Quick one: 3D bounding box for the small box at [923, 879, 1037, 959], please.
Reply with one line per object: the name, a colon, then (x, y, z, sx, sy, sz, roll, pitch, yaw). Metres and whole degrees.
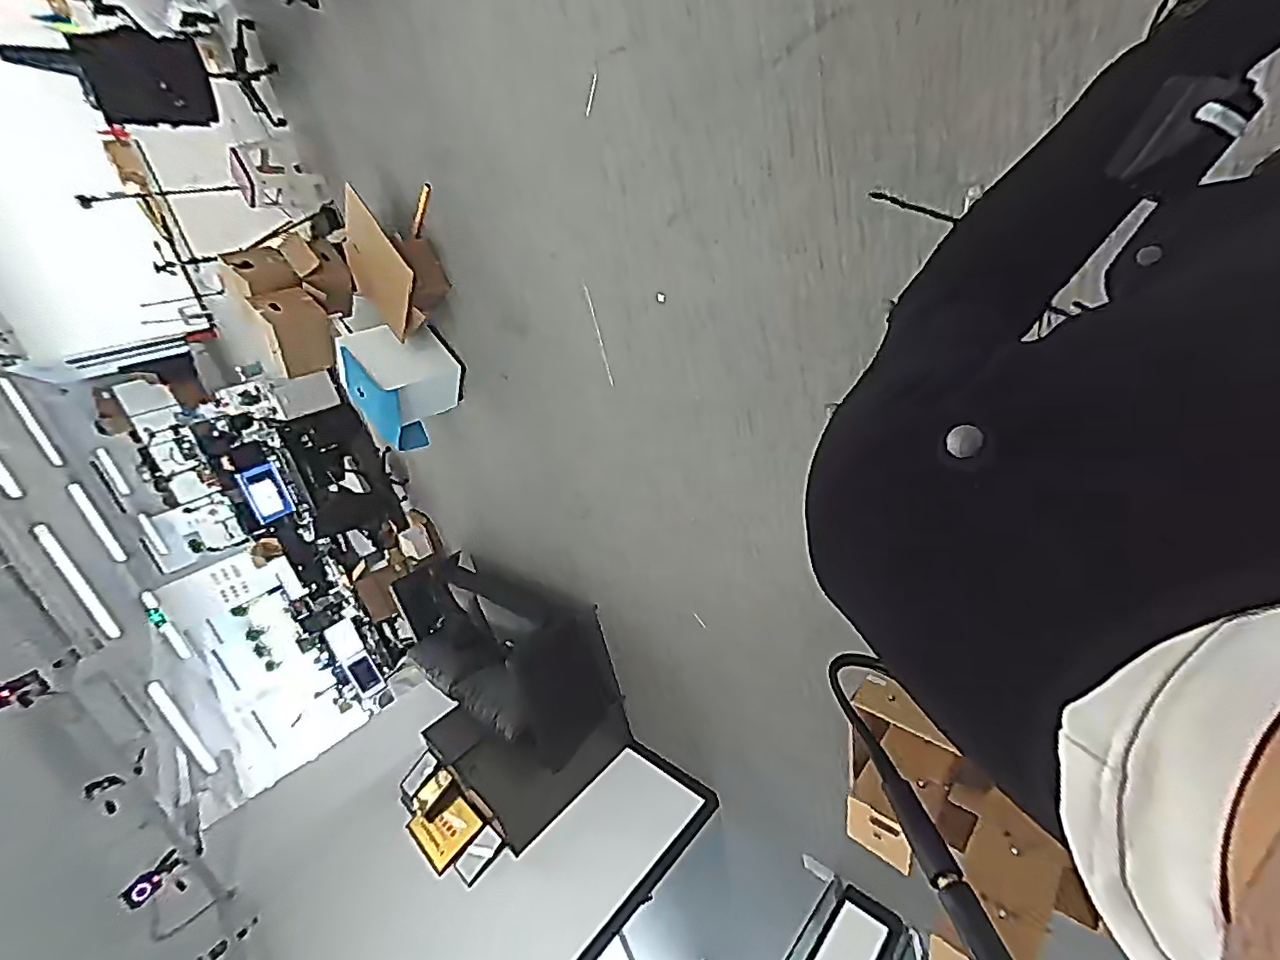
small box: (0.725, 1.022, 1.157, 0.168, 0.176, 0.179, 15, 125, 43)

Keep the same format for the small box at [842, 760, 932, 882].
small box: (0.655, 0.890, 1.430, 0.168, 0.176, 0.179, 17, 126, 43)

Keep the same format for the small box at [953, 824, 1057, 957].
small box: (0.840, 0.958, 1.253, 0.168, 0.176, 0.179, 14, 124, 44)

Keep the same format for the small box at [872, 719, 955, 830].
small box: (0.770, 0.825, 1.527, 0.168, 0.176, 0.179, 16, 124, 44)
